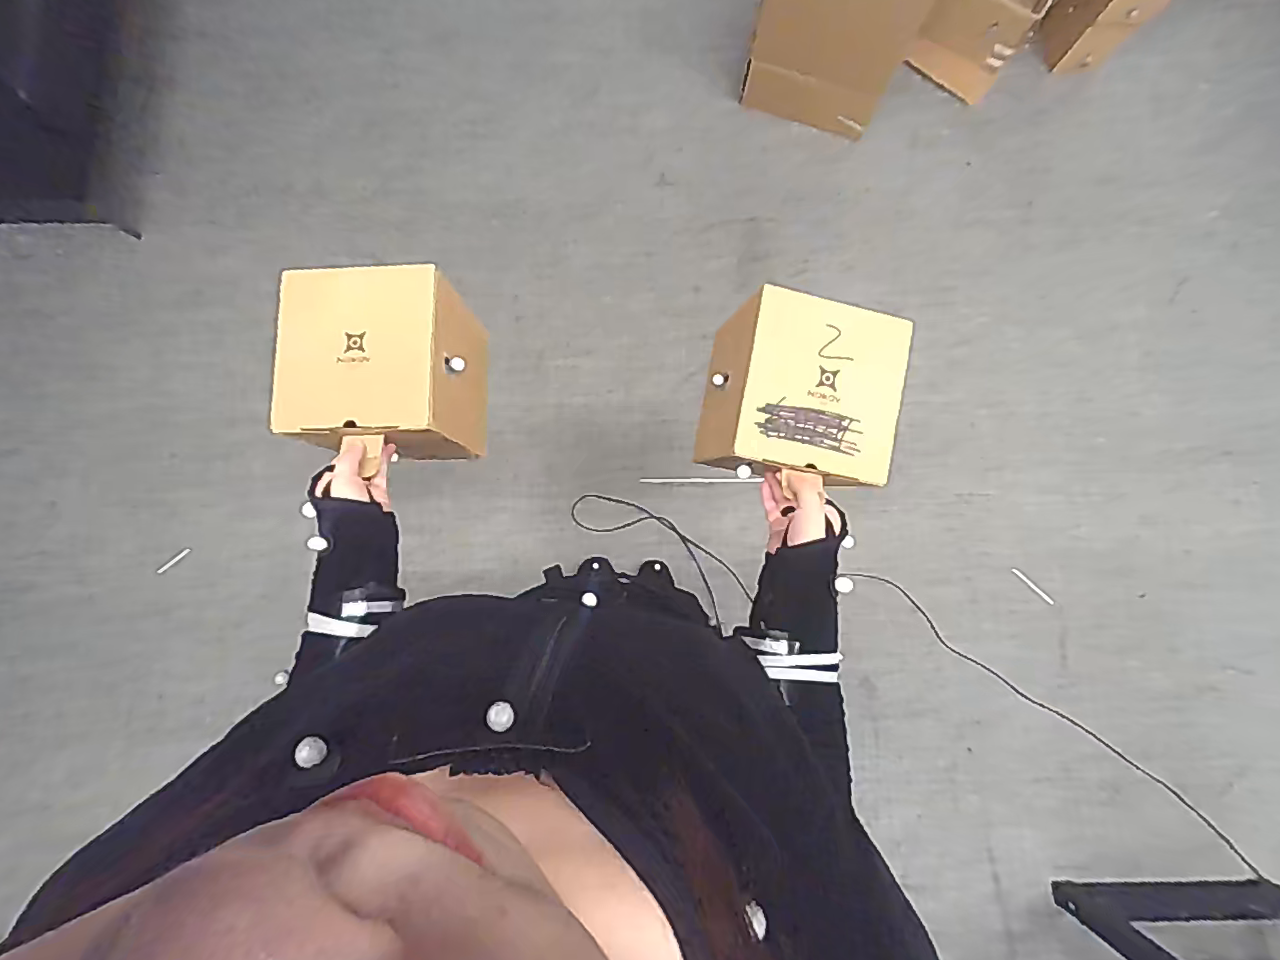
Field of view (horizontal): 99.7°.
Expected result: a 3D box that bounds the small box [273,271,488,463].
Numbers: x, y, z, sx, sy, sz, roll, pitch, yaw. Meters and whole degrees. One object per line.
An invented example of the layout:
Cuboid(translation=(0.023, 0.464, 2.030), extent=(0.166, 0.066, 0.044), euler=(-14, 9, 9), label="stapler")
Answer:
Cuboid(translation=(-0.284, -0.120, 0.630), extent=(0.168, 0.176, 0.179), euler=(-1, 83, 2), label="small box")
